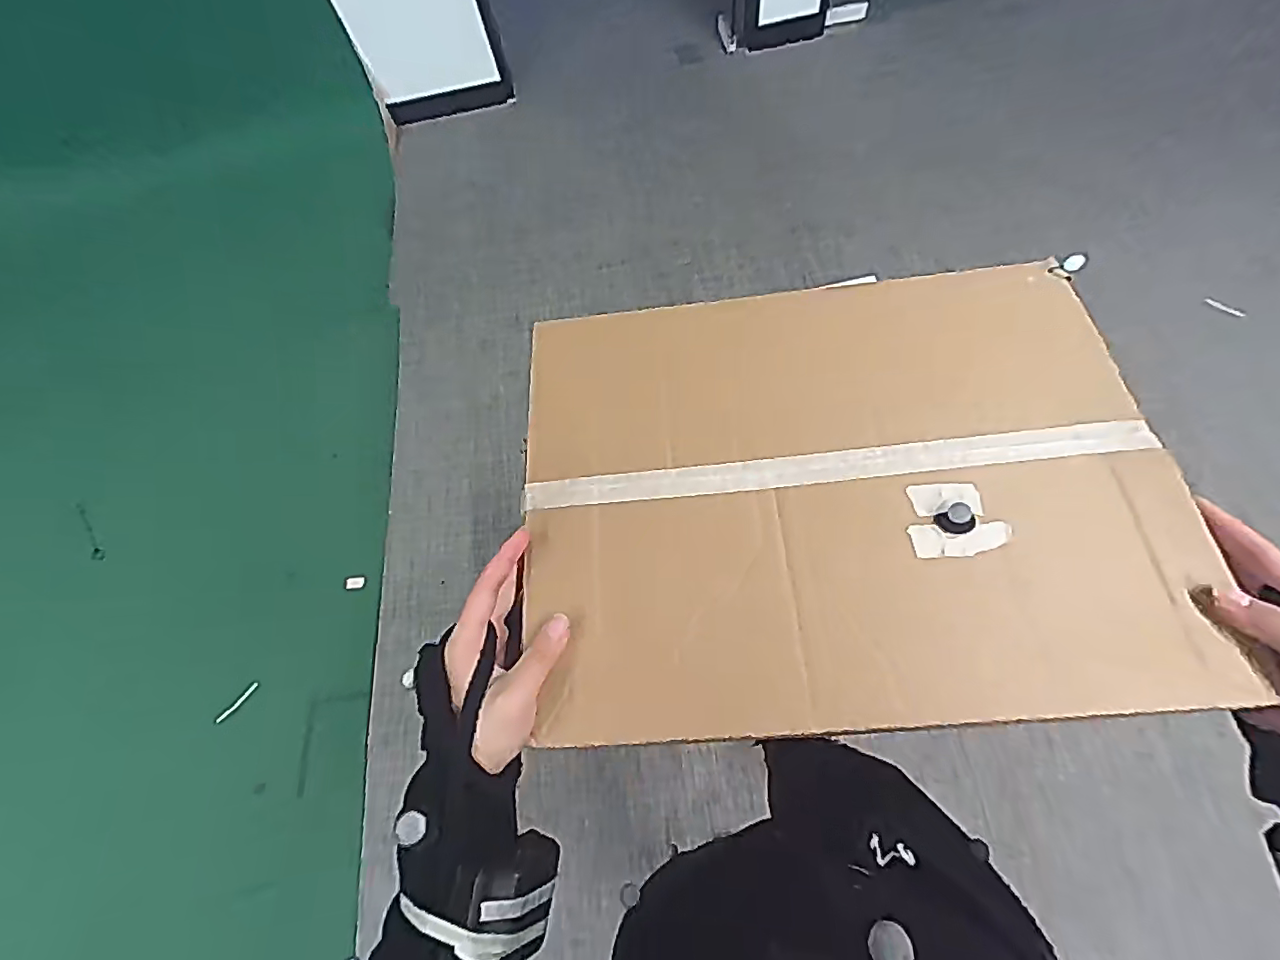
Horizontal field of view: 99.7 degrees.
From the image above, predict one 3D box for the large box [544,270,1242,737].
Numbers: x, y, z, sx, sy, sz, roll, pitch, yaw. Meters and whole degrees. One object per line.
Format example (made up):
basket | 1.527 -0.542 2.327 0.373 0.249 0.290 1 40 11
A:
large box | 0.141 0.054 0.507 0.408 0.320 0.320 -6 65 3
